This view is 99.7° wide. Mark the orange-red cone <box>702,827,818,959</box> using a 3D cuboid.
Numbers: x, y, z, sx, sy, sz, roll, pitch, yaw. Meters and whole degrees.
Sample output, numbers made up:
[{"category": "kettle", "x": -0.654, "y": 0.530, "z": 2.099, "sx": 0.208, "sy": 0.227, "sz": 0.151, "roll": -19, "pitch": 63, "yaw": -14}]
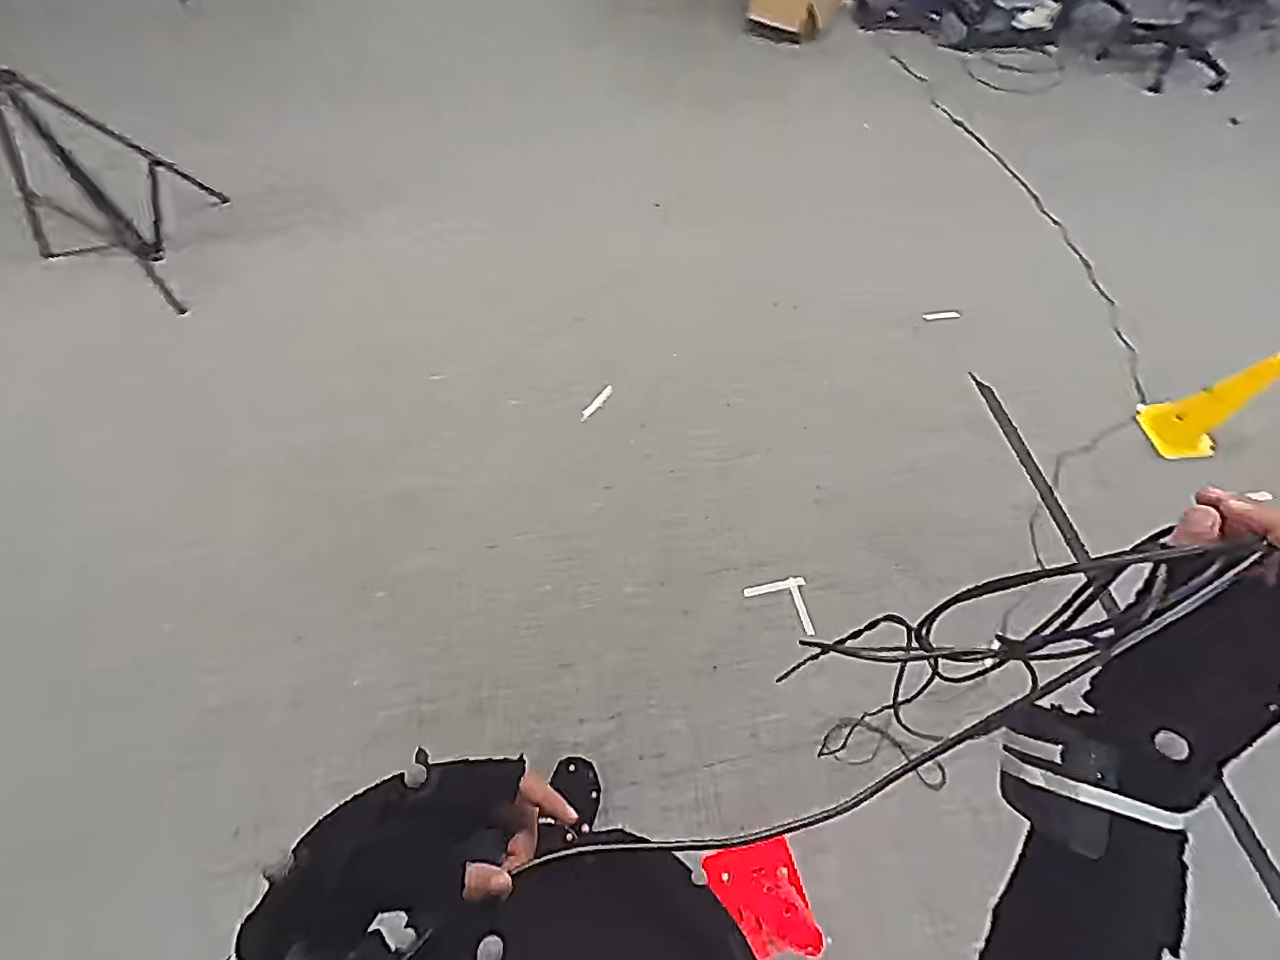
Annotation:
[{"category": "orange-red cone", "x": 0.252, "y": 0.785, "z": 0.985, "sx": 0.198, "sy": 0.360, "sz": 0.199, "roll": -13, "pitch": 65, "yaw": -8}]
